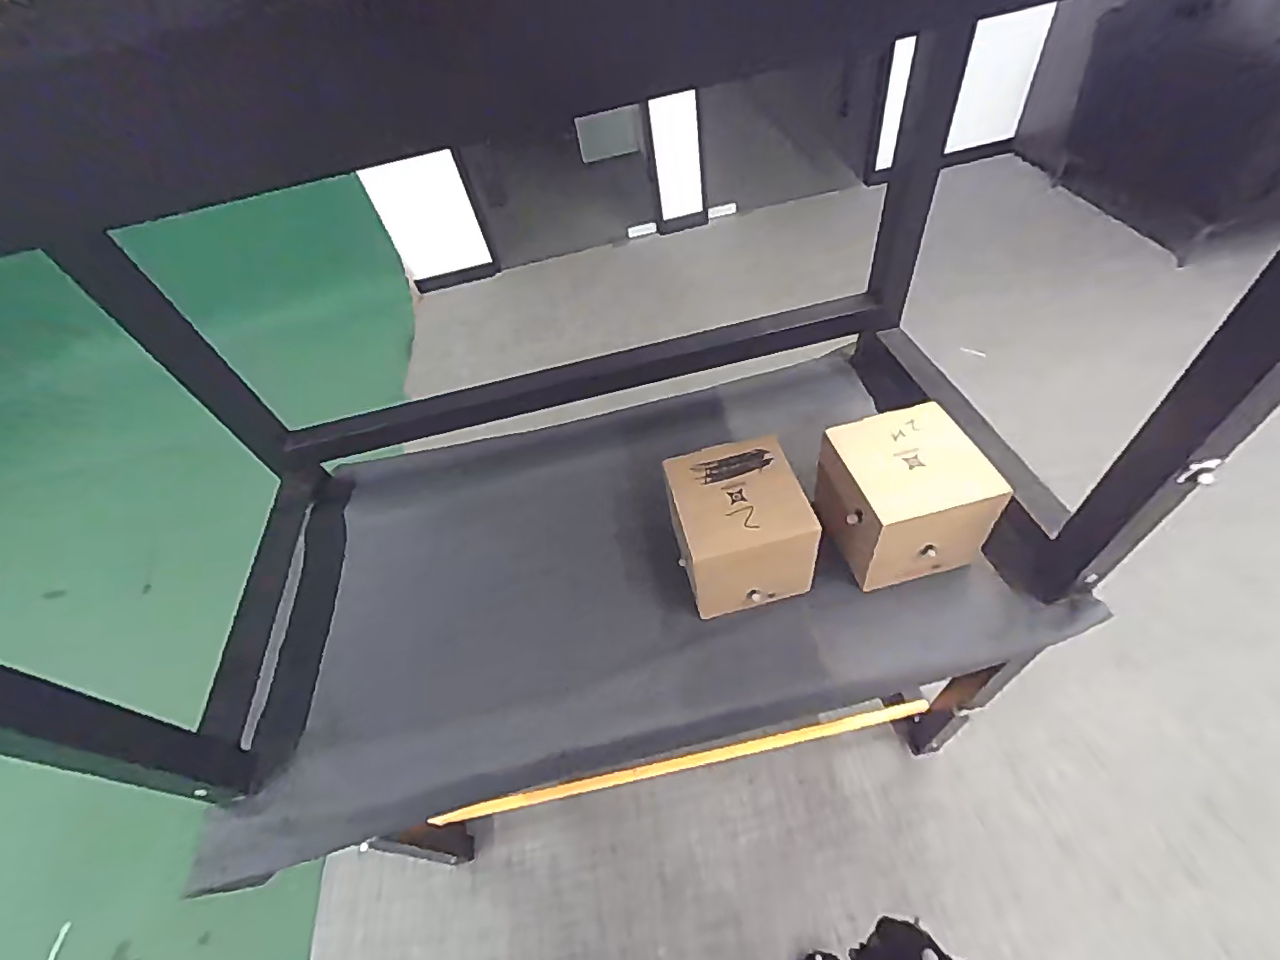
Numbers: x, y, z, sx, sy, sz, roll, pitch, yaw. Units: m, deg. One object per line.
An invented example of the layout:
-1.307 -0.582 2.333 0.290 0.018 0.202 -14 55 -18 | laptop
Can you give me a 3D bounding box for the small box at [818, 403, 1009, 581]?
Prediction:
0.367 0.025 0.766 0.168 0.176 0.179 -15 49 -1 | small box
